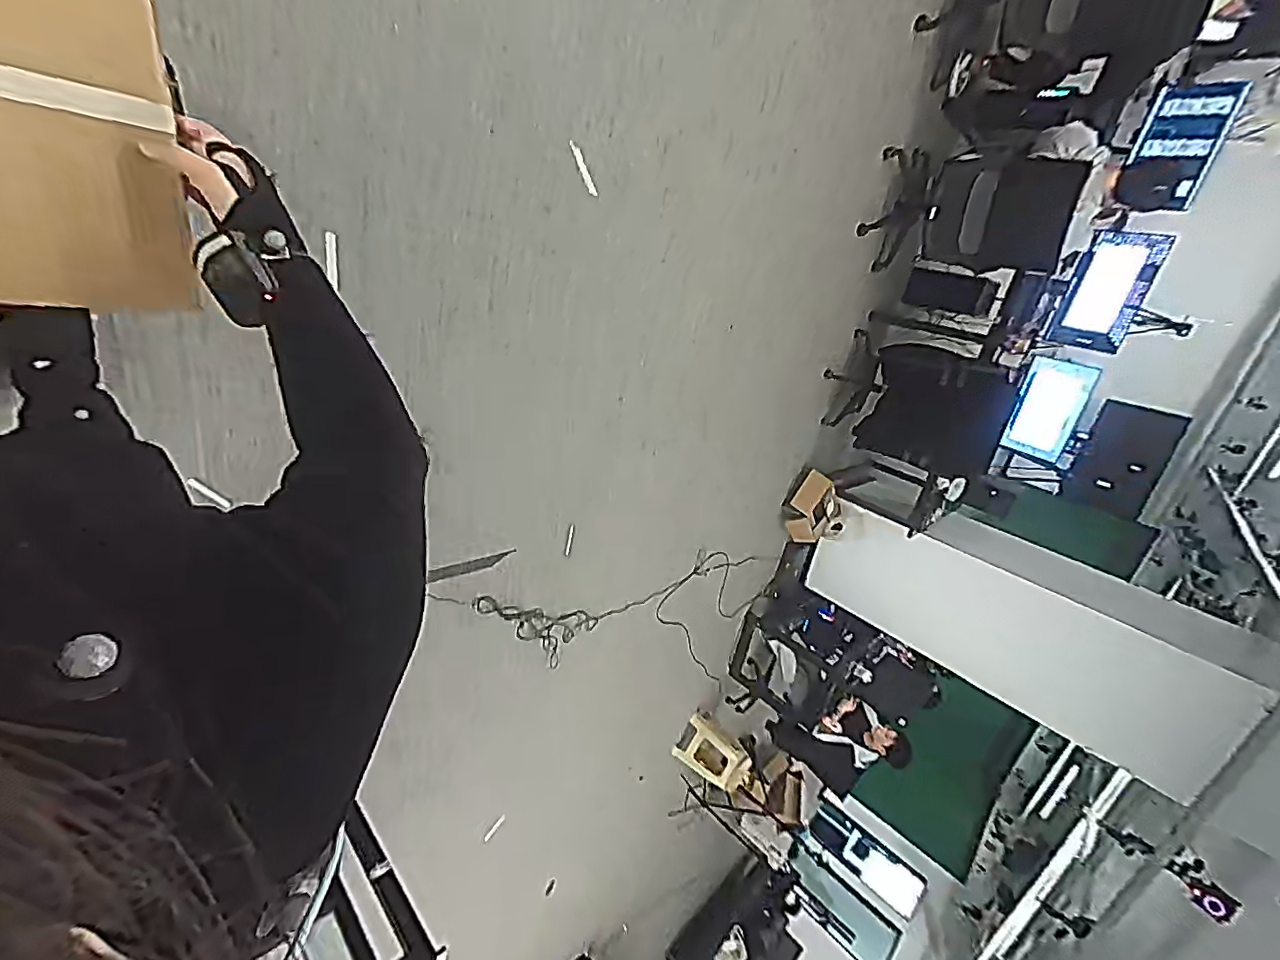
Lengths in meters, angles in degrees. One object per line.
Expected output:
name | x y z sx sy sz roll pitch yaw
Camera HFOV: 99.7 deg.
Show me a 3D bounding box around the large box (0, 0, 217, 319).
large box | -0.624 -0.313 0.431 0.408 0.320 0.320 -11 115 -39
